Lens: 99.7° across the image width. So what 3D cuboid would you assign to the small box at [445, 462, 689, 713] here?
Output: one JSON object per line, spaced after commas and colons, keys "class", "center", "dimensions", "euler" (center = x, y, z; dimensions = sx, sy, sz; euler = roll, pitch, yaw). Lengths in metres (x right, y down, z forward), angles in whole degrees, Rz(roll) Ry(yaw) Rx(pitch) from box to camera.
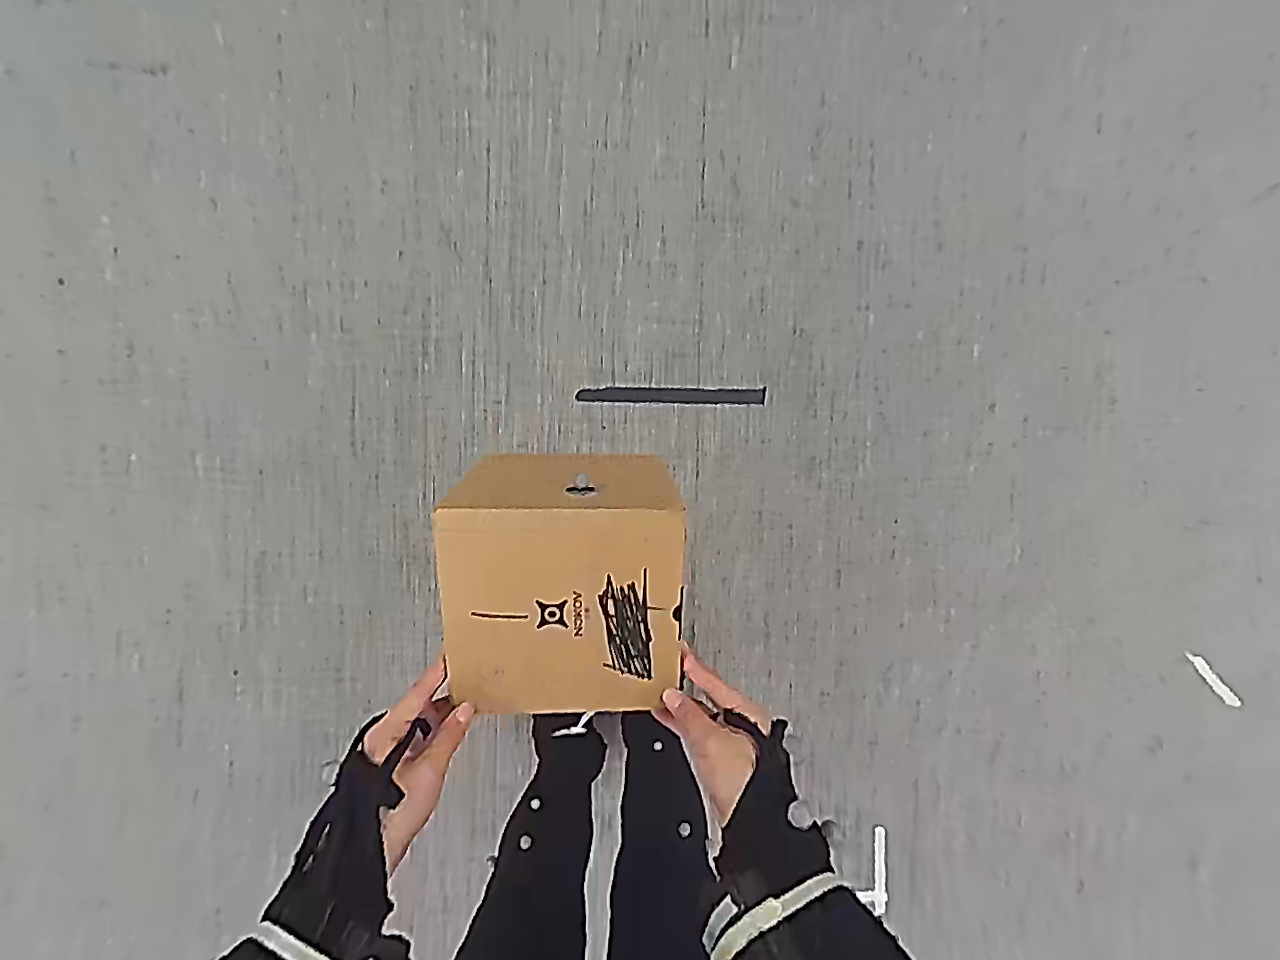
{"class": "small box", "center": [-0.058, 0.081, 0.481], "dimensions": [0.179, 0.176, 0.168], "euler": [0, 105, -3]}
